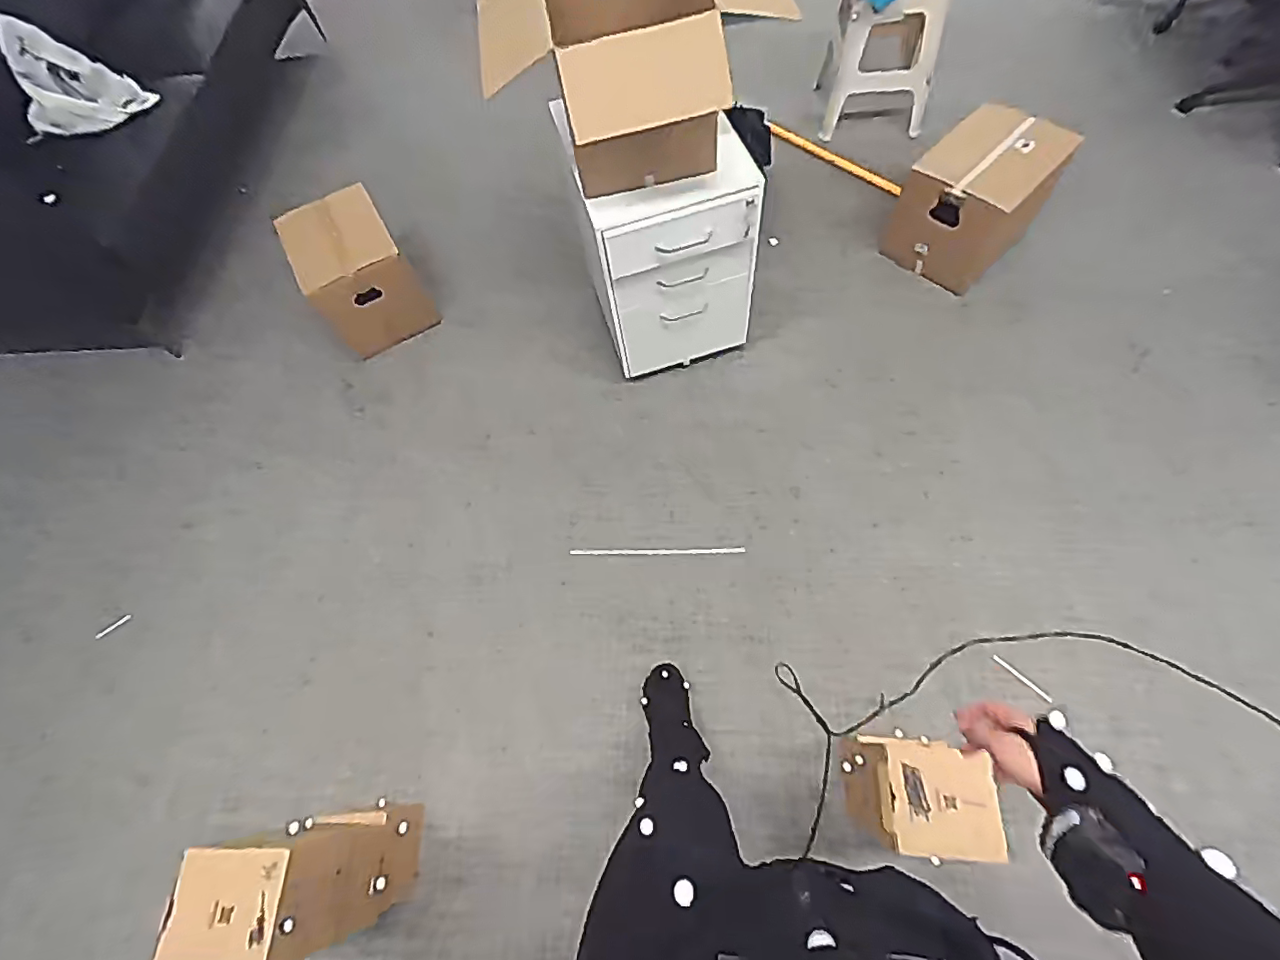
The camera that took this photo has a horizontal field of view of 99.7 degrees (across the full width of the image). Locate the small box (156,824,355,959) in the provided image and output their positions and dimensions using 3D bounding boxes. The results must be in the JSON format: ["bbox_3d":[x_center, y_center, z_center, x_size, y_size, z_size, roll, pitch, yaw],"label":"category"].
[{"bbox_3d":[-0.607,0.667,0.876,0.179,0.176,0.168,-2,64,6],"label":"small box"}]

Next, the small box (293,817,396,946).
[{"bbox_3d":[-0.597,0.745,1.020,0.179,0.176,0.168,-2,65,4],"label":"small box"}]

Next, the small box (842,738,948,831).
[{"bbox_3d":[0.528,0.635,1.122,0.179,0.176,0.168,1,64,6],"label":"small box"}]

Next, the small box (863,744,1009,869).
[{"bbox_3d":[0.512,0.574,0.970,0.179,0.176,0.168,2,65,6],"label":"small box"}]
